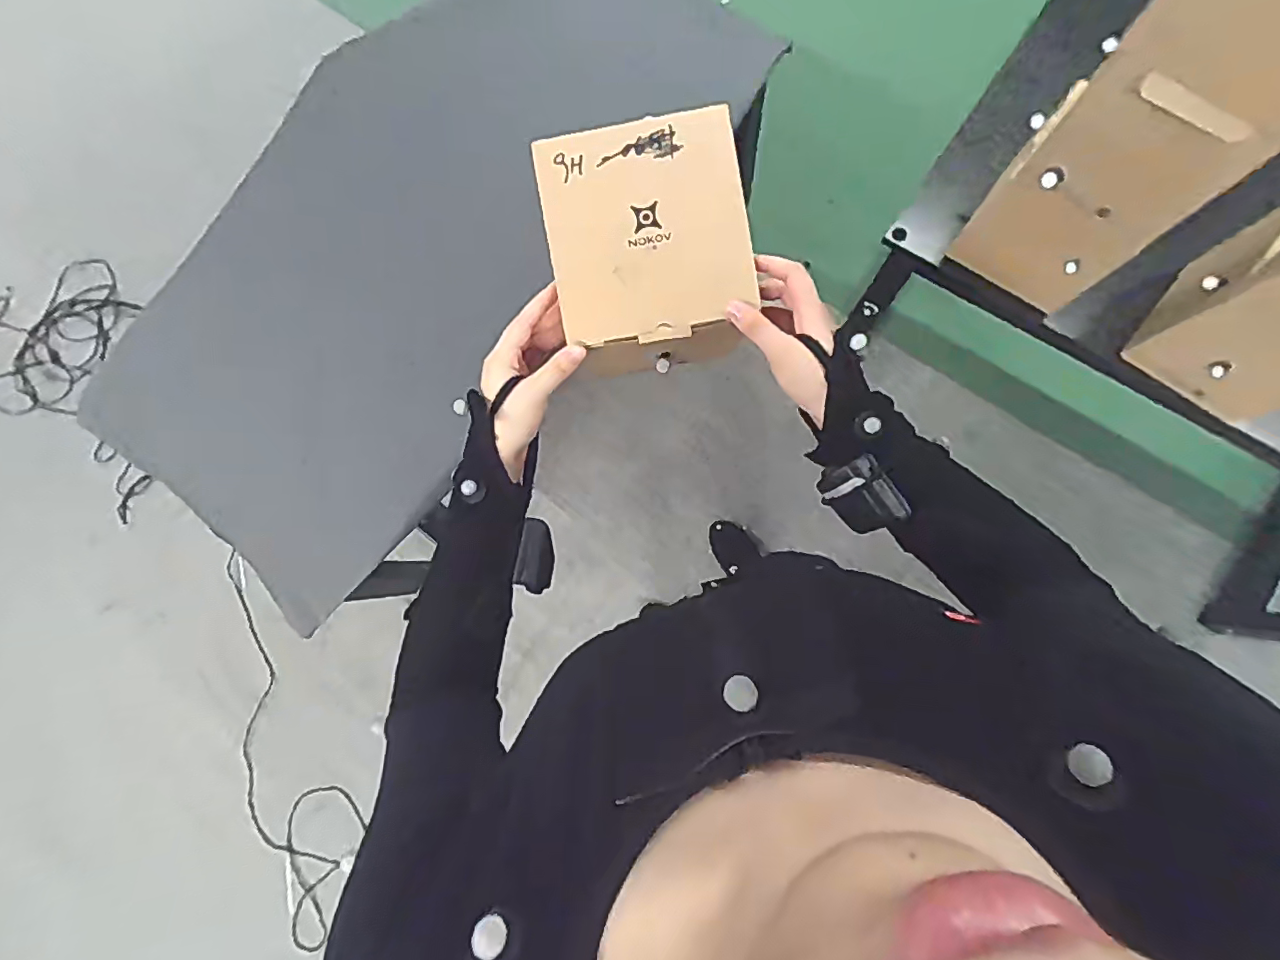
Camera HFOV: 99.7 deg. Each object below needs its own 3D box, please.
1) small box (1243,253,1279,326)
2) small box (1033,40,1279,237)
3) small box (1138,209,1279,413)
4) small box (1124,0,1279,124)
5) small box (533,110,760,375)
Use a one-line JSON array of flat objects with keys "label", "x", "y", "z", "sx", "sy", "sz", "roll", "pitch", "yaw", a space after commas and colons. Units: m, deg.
[{"label": "small box", "x": 0.771, "y": -0.210, "z": 0.509, "sx": 0.168, "sy": 0.176, "sz": 0.179, "roll": -43, "pitch": 79, "yaw": -1}, {"label": "small box", "x": 0.560, "y": -0.395, "z": 0.559, "sx": 0.168, "sy": 0.176, "sz": 0.179, "roll": 38, "pitch": 86, "yaw": 9}, {"label": "small box", "x": 0.790, "y": -0.209, "z": 0.672, "sx": 0.168, "sy": 0.176, "sz": 0.179, "roll": 39, "pitch": 87, "yaw": 10}, {"label": "small box", "x": 0.538, "y": -0.413, "z": 0.399, "sx": 0.179, "sy": 0.176, "sz": 0.168, "roll": 38, "pitch": 85, "yaw": 10}, {"label": "small box", "x": 0.009, "y": -0.203, "z": 0.519, "sx": 0.168, "sy": 0.176, "sz": 0.179, "roll": -10, "pitch": 92, "yaw": 2}]
